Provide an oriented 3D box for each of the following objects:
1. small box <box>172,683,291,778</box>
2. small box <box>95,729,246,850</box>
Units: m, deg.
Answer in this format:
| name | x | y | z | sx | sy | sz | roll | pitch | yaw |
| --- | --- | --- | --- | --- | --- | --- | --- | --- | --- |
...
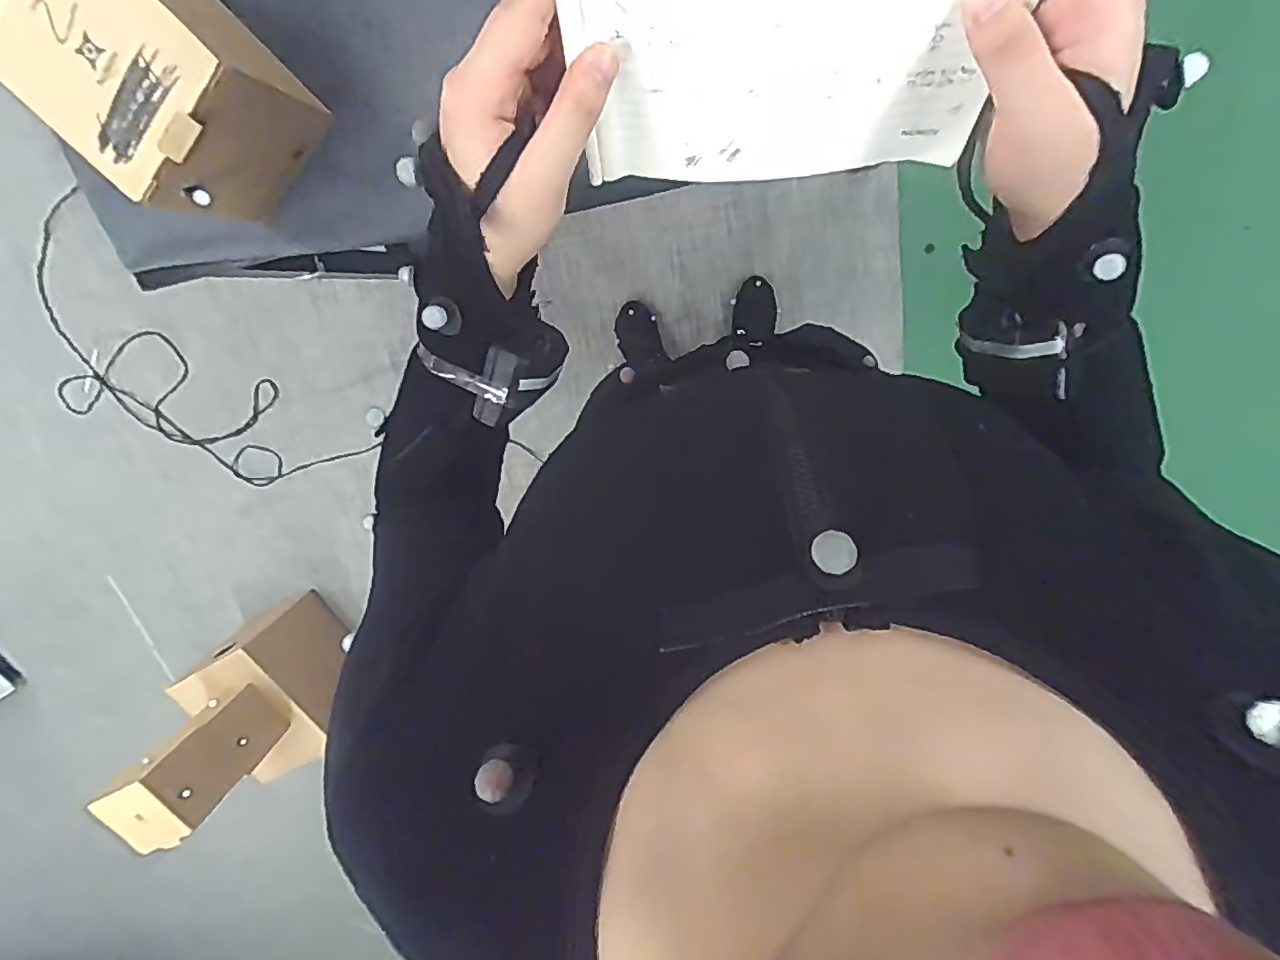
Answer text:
| name | x | y | z | sx | sy | sz | roll | pitch | yaw |
| --- | --- | --- | --- | --- | --- | --- | --- | --- | --- |
| small box | -1.099 | 0.688 | 1.456 | 0.168 | 0.176 | 0.179 | -27 | 105 | 12 |
| small box | -1.114 | 0.731 | 1.299 | 0.168 | 0.176 | 0.179 | -27 | 106 | 11 |
